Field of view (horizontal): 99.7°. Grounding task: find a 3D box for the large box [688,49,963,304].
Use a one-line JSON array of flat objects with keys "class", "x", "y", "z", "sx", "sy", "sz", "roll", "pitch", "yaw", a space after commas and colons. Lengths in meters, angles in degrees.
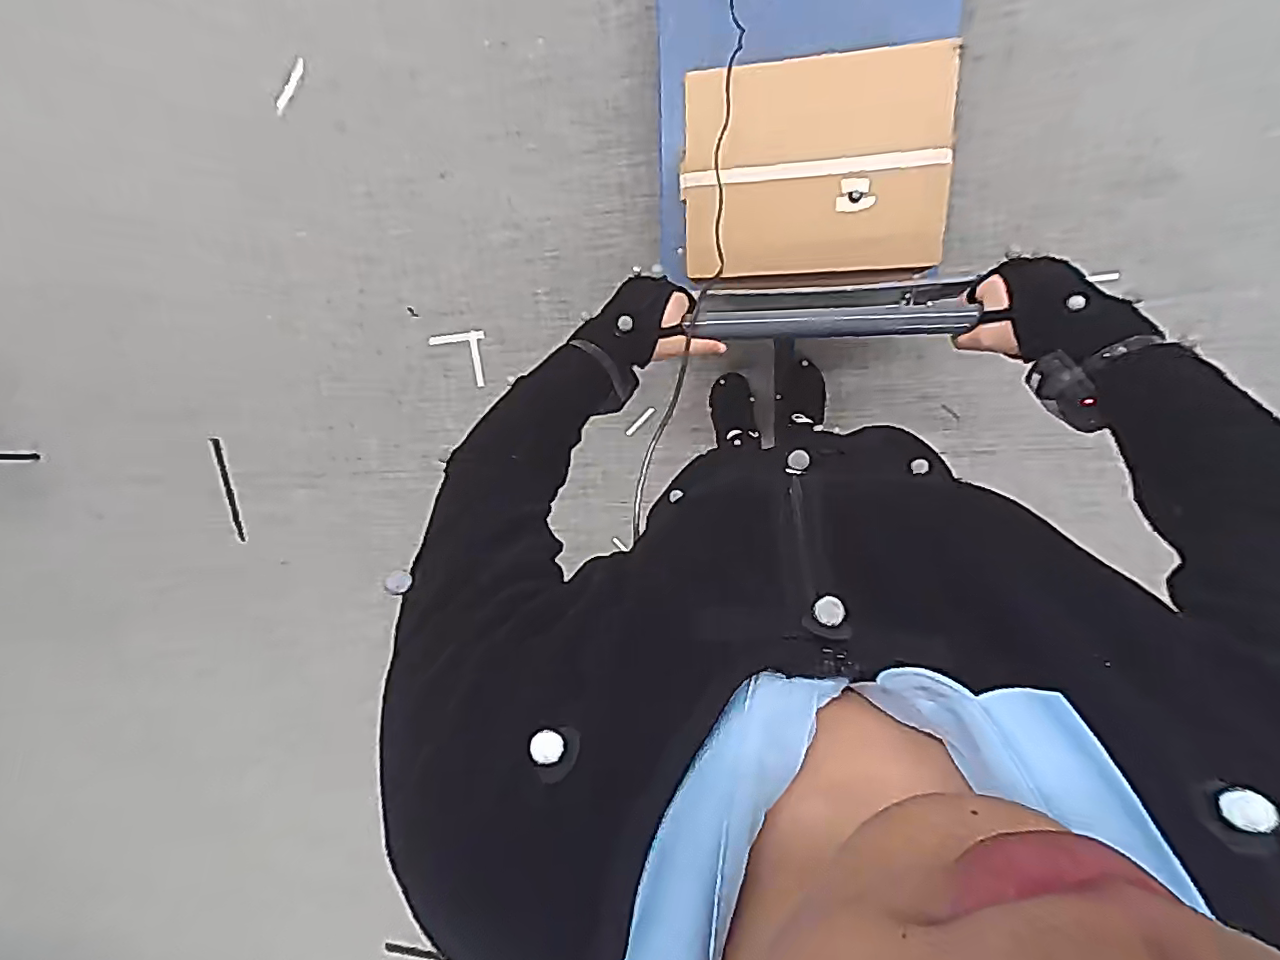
[{"class": "large box", "x": 0.302, "y": -0.507, "z": 0.991, "sx": 0.408, "sy": 0.320, "sz": 0.320, "roll": 1, "pitch": 104, "yaw": 11}]
